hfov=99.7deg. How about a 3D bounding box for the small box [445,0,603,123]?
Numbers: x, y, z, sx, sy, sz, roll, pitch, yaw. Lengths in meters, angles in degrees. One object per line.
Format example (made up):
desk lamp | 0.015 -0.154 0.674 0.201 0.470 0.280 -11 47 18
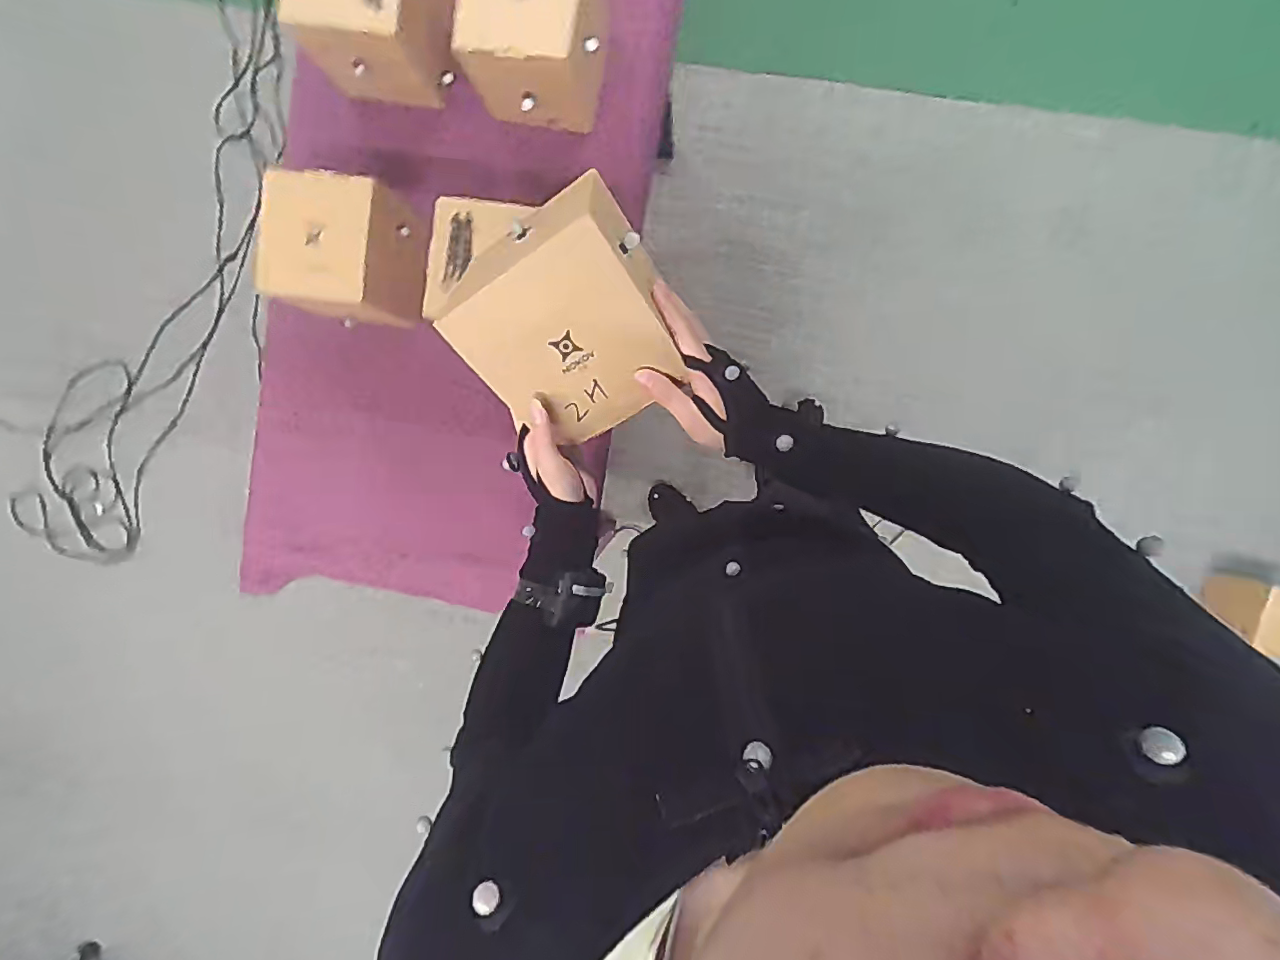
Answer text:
small box | -0.157 -0.659 0.785 0.168 0.176 0.179 12 96 5

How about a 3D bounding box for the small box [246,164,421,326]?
small box | -0.460 -0.351 0.836 0.168 0.176 0.179 8 95 5

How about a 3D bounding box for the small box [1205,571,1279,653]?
small box | 1.654 0.350 1.414 0.168 0.176 0.179 13 96 4

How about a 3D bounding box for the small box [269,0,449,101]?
small box | -0.403 -0.705 0.806 0.179 0.176 0.168 10 95 5
